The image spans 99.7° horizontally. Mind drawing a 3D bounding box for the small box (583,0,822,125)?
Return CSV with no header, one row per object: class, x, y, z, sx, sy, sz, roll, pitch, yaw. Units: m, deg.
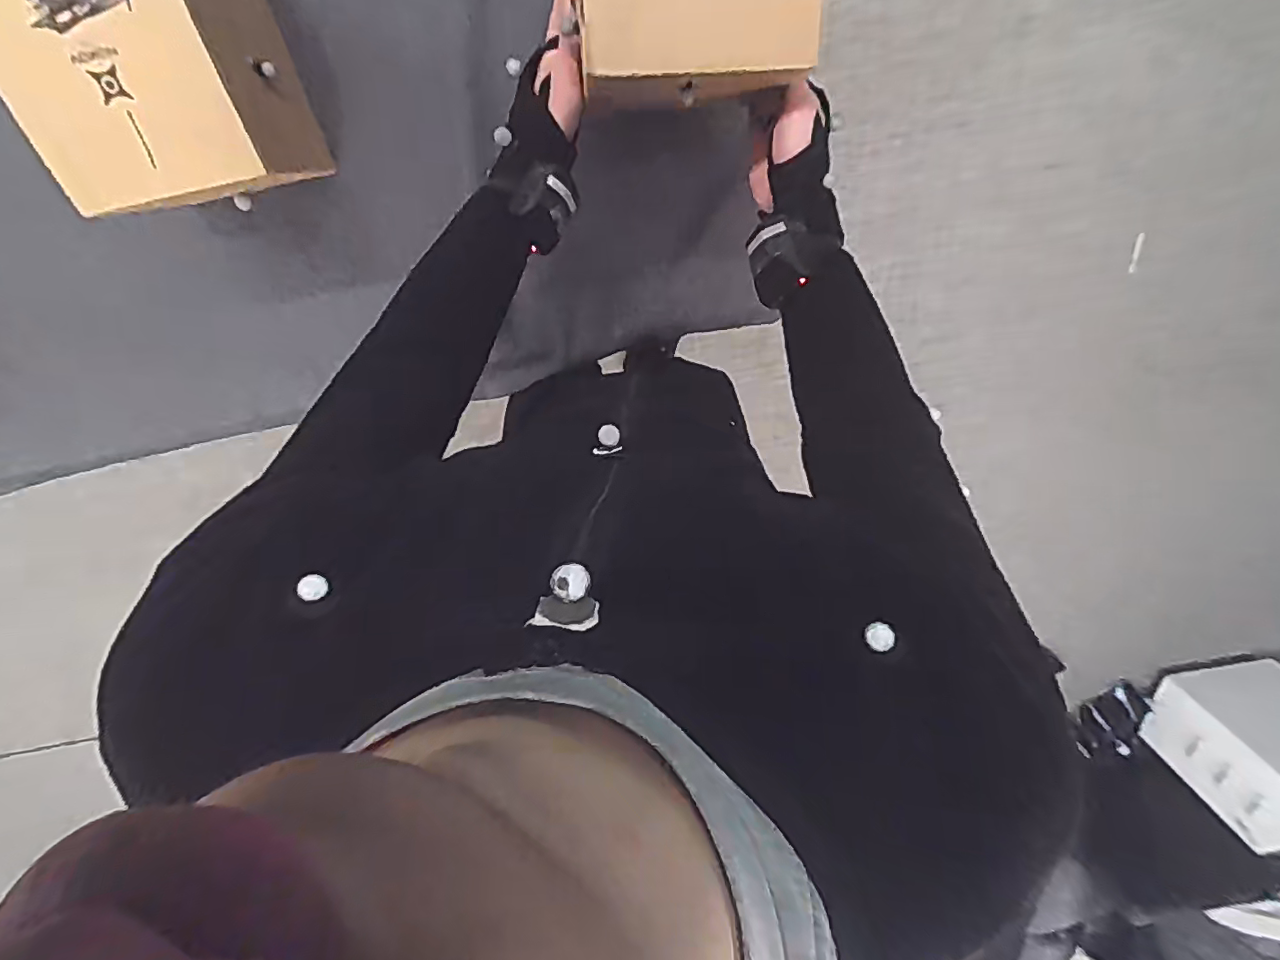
small box,0.040,-0.409,0.455,0.179,0.176,0.168,-6,118,-4
